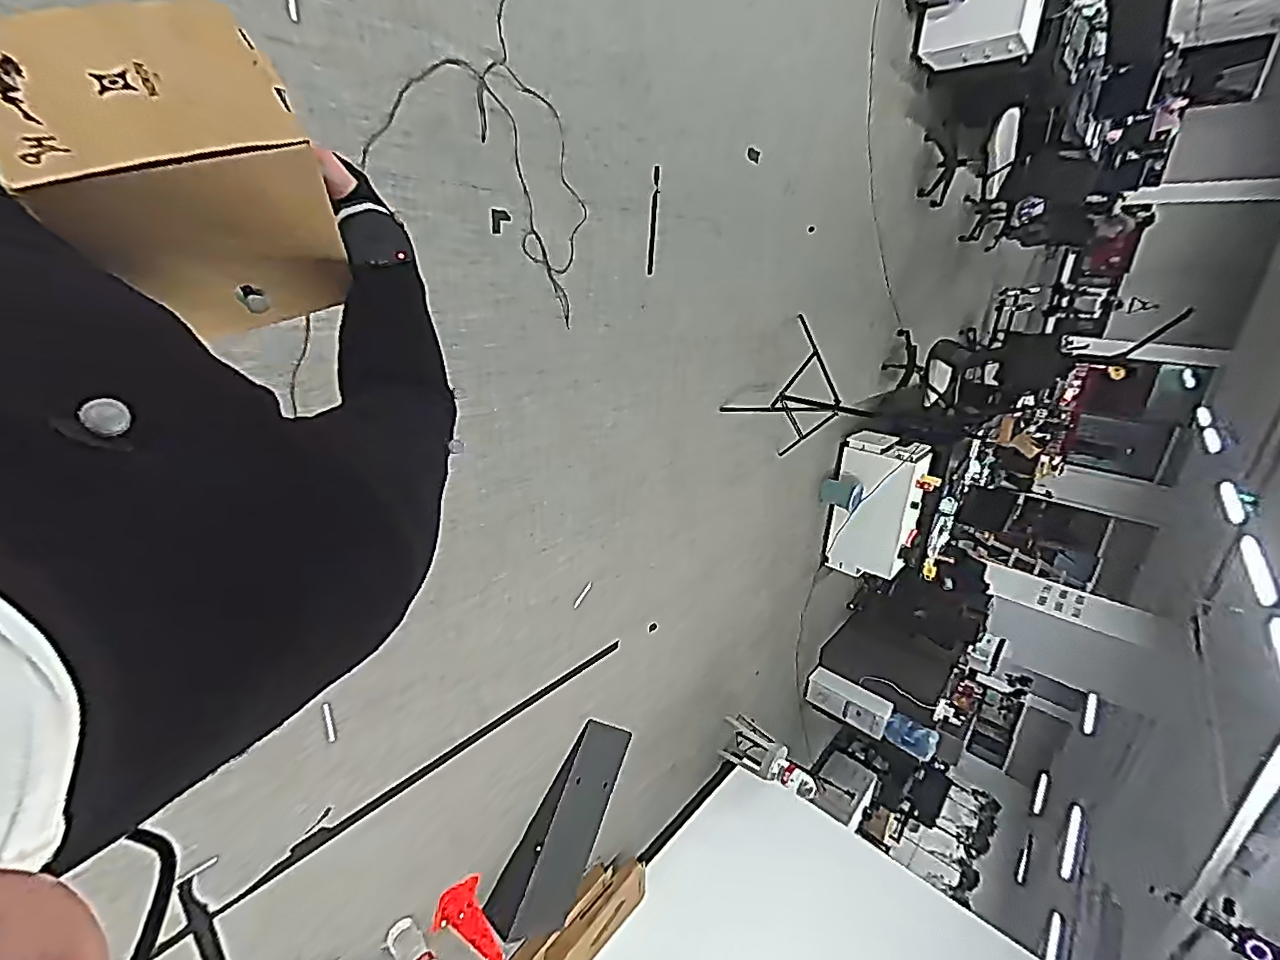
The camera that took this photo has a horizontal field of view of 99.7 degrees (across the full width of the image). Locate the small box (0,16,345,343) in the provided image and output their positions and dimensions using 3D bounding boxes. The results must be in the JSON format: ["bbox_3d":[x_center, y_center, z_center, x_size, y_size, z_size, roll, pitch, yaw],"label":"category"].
[{"bbox_3d":[-0.380,-0.251,0.466,0.179,0.168,0.176,-28,166,-25],"label":"small box"}]
